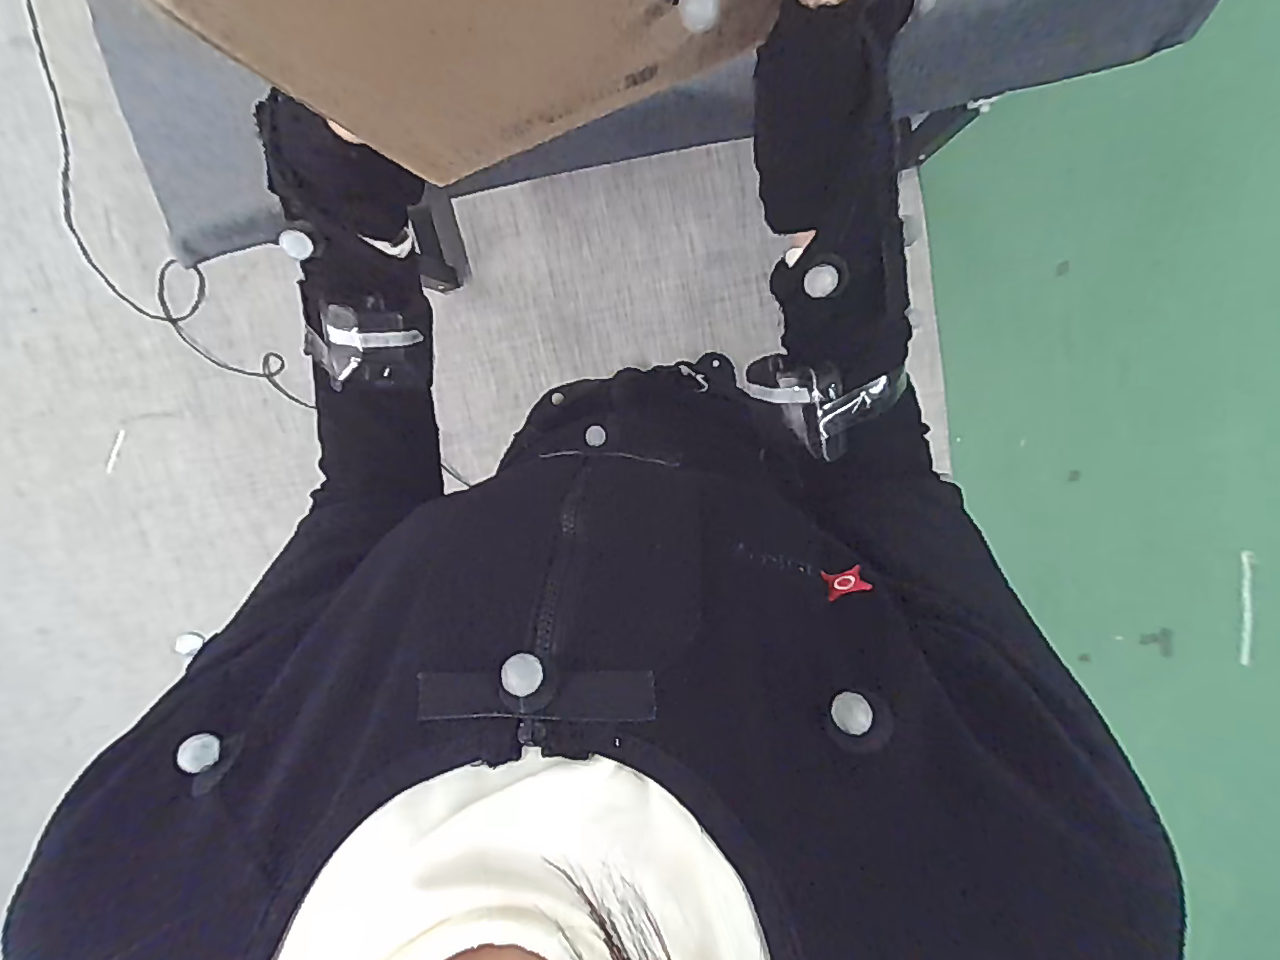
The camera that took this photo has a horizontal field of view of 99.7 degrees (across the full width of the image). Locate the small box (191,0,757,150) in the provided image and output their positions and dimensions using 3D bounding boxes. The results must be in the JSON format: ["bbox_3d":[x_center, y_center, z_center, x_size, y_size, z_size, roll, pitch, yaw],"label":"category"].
[{"bbox_3d":[-0.051,-0.225,0.153,0.168,0.176,0.179,-21,105,4],"label":"small box"}]
